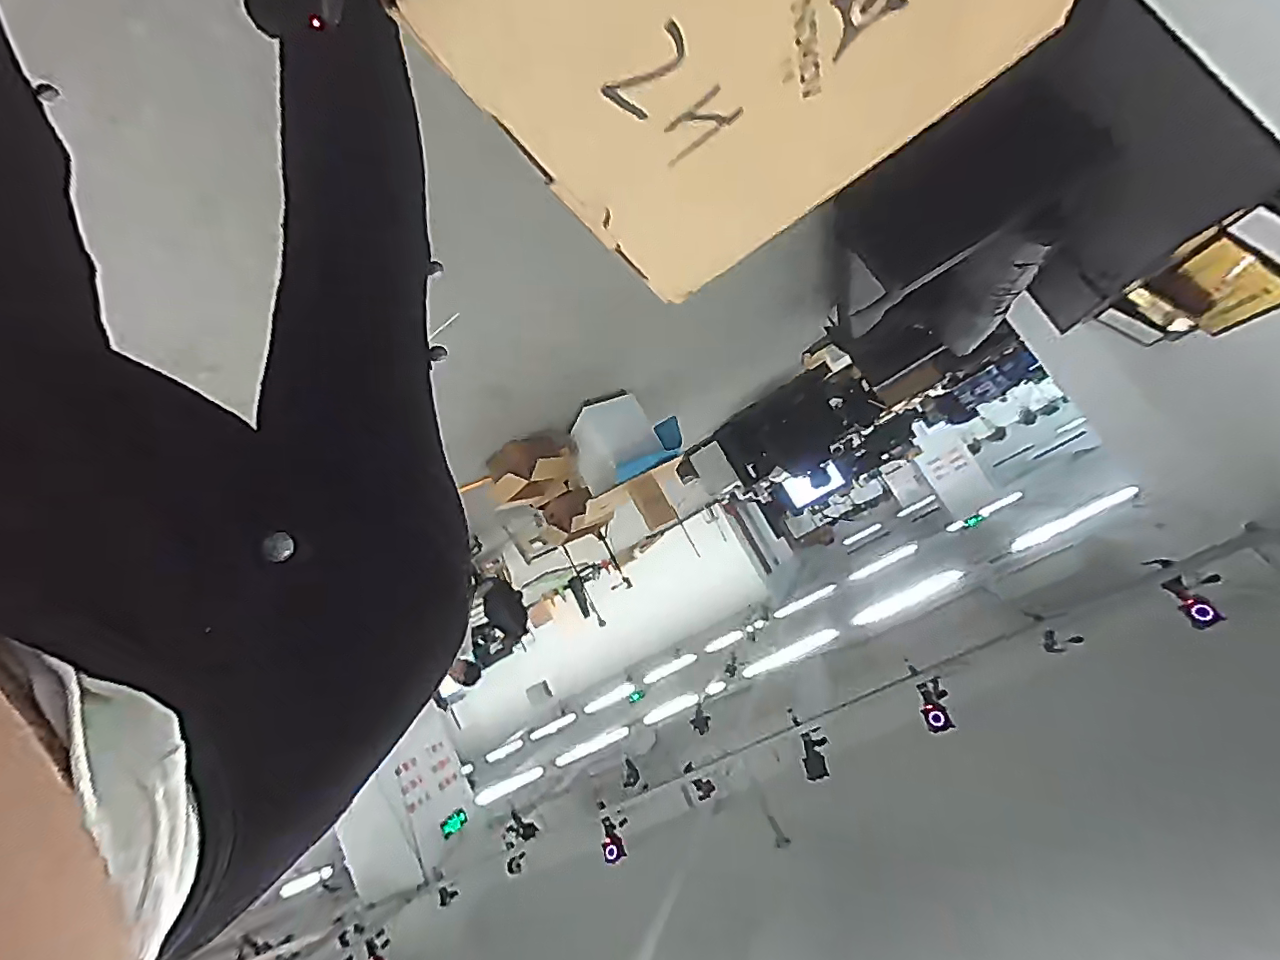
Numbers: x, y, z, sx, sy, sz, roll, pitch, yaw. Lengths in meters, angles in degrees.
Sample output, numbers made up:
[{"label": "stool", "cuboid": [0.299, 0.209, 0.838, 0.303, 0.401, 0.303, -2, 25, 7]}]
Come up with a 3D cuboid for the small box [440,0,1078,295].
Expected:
[{"label": "small box", "cuboid": [0.021, -0.198, 0.161, 0.179, 0.176, 0.168, -30, 169, 17]}]
